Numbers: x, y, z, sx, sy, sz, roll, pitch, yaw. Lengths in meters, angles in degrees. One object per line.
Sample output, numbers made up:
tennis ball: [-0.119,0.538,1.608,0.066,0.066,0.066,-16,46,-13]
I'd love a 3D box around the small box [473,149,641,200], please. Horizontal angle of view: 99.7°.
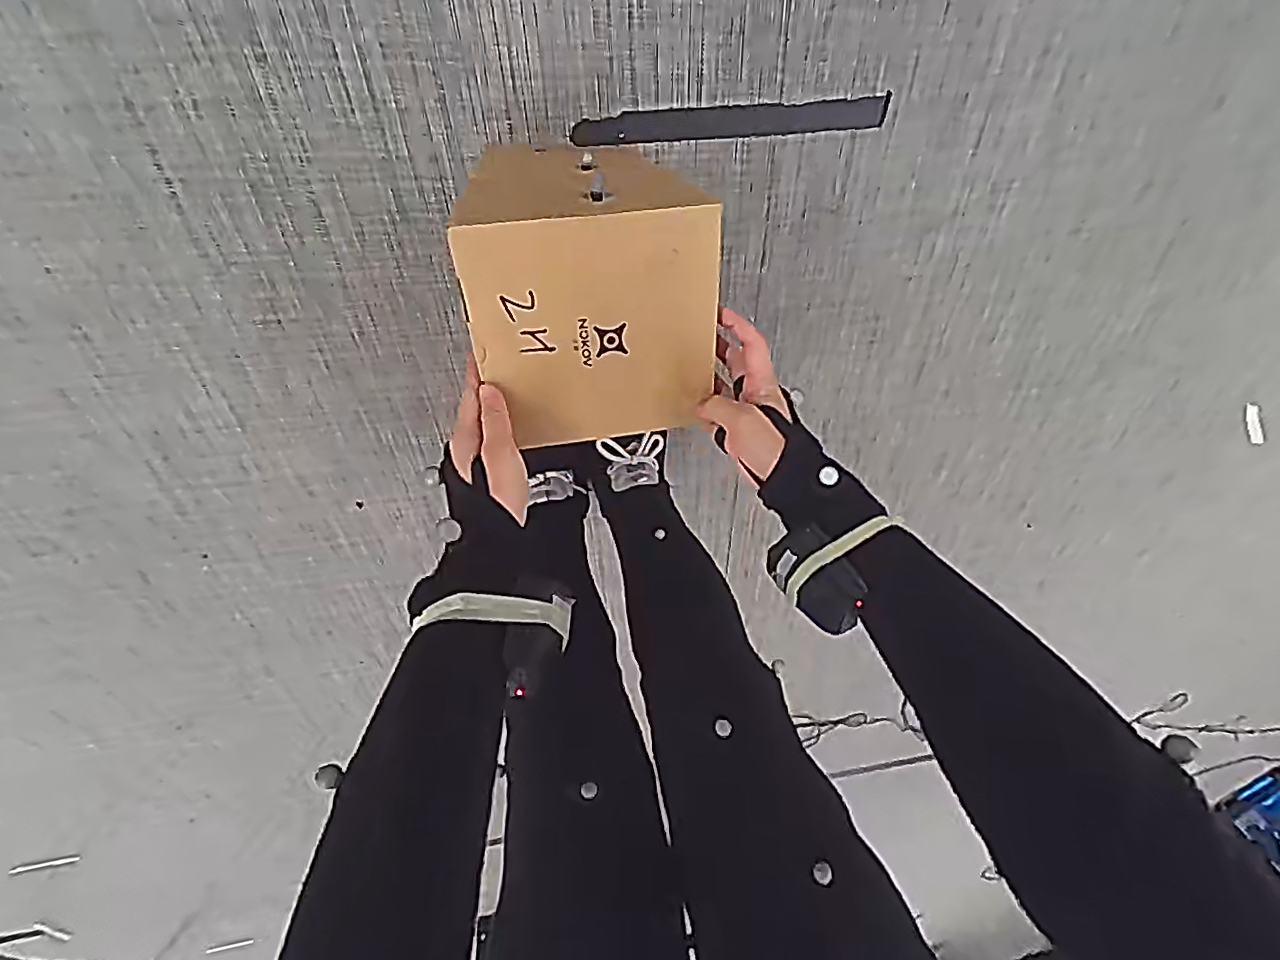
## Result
small box: [-0.075,-0.240,0.579,0.168,0.176,0.179,-6,129,-8]

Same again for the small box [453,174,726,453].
small box: [-0.041,-0.144,0.446,0.179,0.176,0.168,-8,128,-6]
